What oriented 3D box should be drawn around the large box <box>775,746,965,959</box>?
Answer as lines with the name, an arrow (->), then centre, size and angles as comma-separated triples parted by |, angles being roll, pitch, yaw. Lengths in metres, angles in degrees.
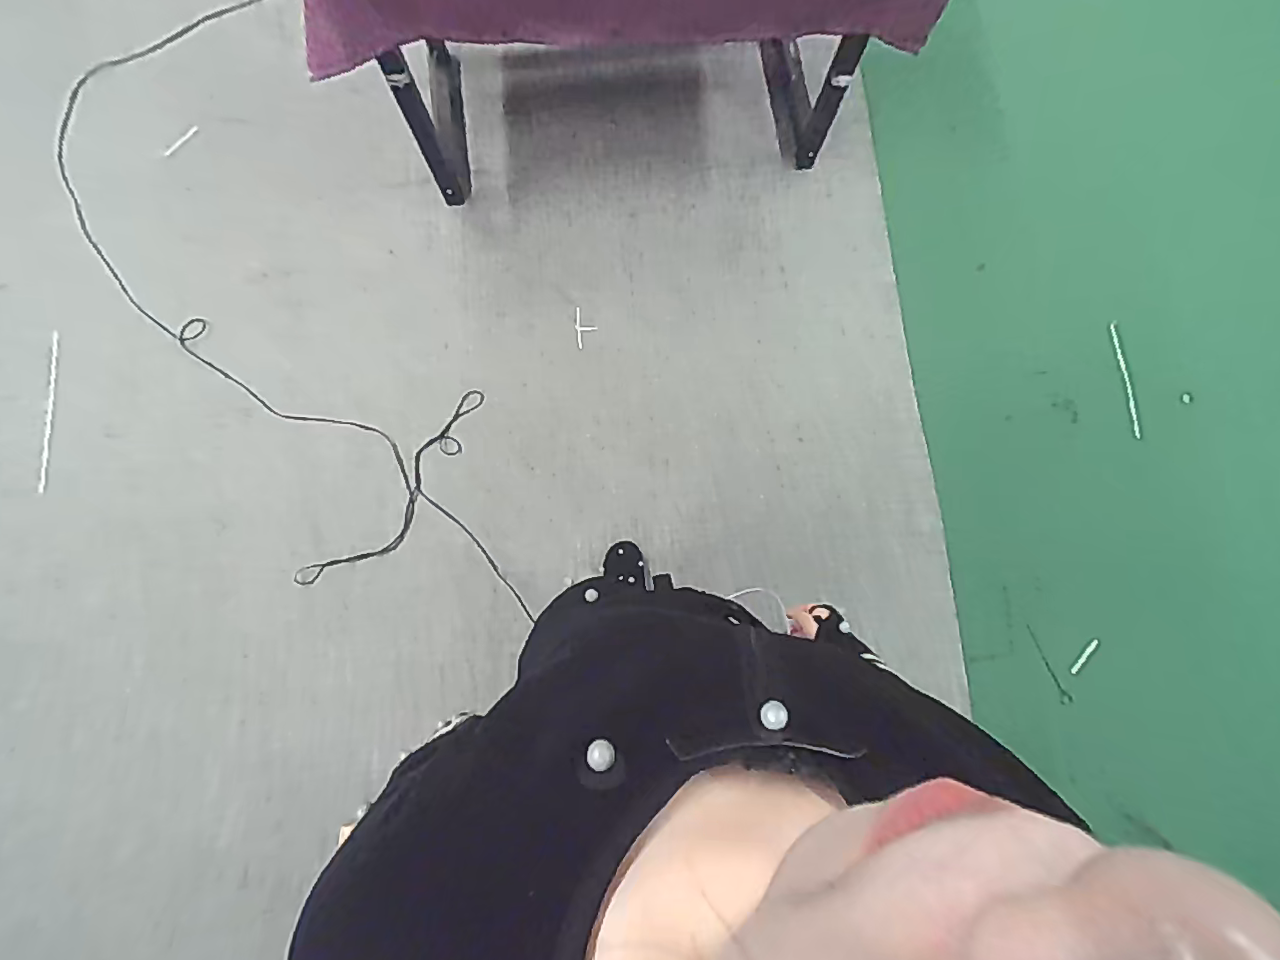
large box -> 0.532, 0.893, 1.255 | 0.320, 0.320, 0.408 | -5, 81, -3
